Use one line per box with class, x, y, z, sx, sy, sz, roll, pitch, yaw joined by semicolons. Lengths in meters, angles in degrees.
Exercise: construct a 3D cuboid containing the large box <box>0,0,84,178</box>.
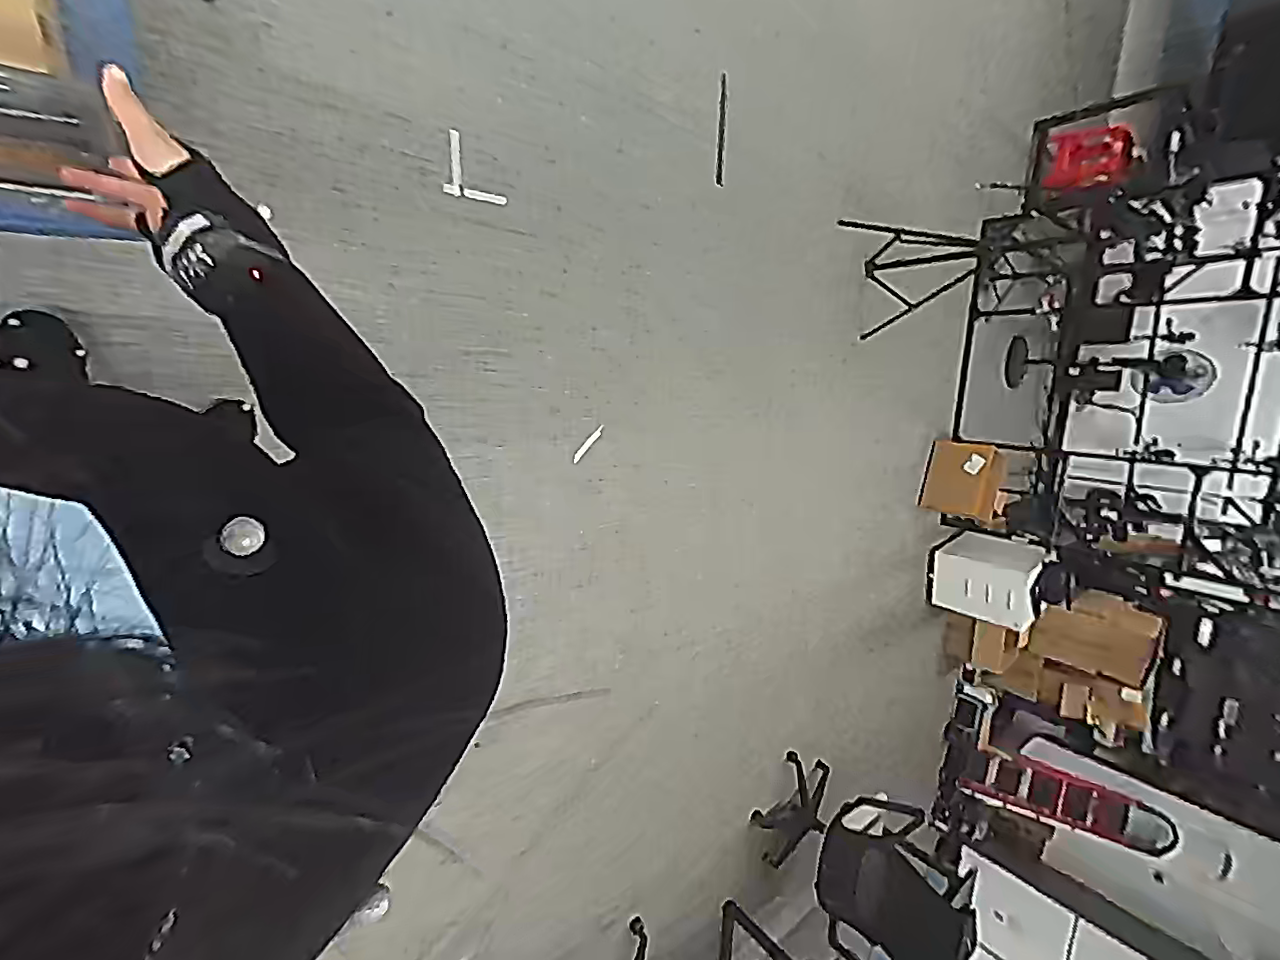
large box;-0.975;-0.589;0.627;0.408;0.320;0.320;-11;107;-40
